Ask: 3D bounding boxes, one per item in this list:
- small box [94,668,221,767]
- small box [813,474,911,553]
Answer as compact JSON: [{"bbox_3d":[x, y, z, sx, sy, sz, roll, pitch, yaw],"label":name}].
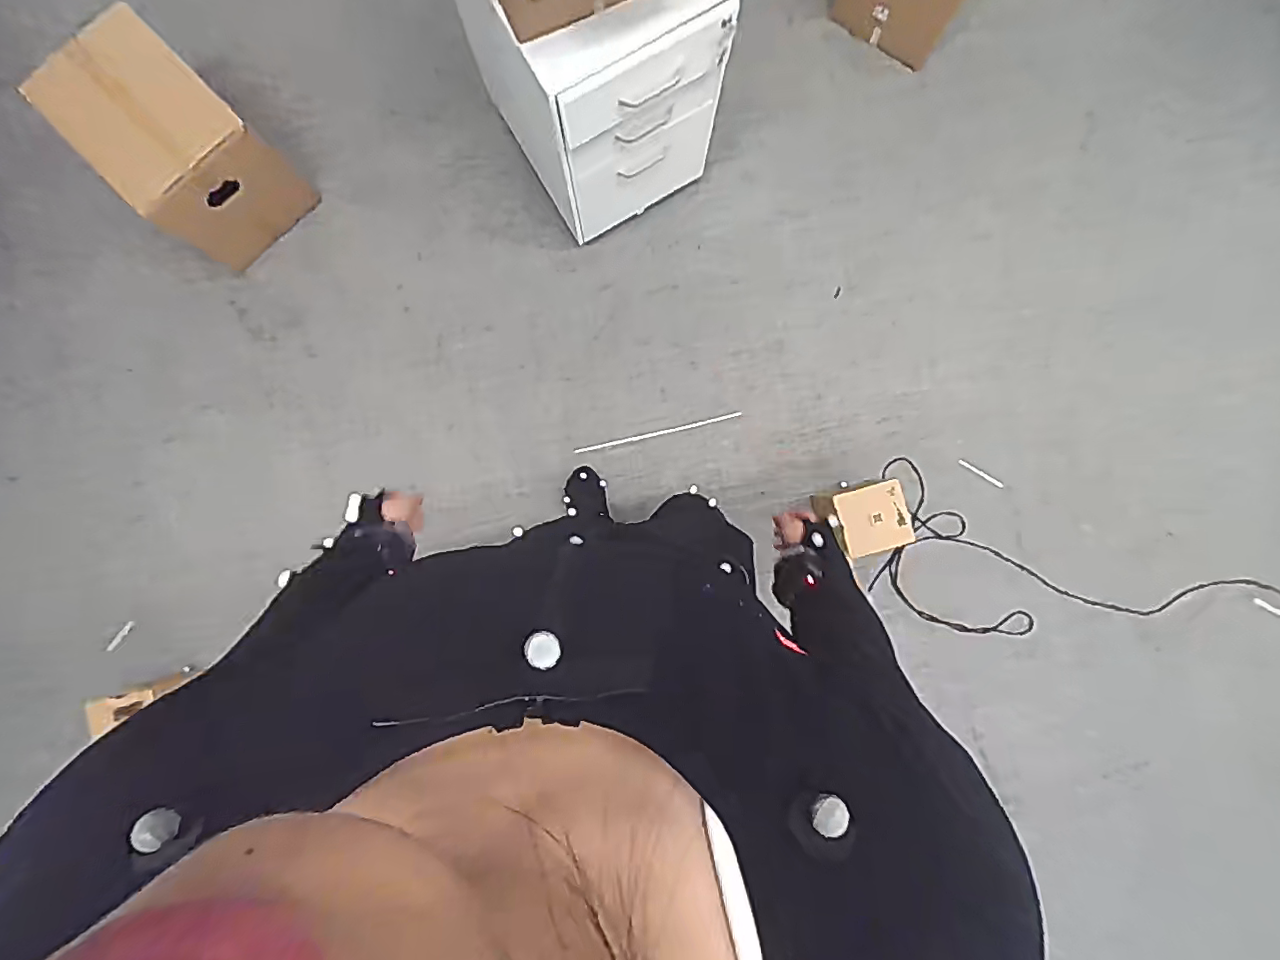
[{"bbox_3d":[-1.232,0.600,1.392,0.168,0.176,0.179,-12,89,-1],"label":"small box"},{"bbox_3d":[0.573,0.088,1.425,0.179,0.176,0.168,-16,89,0],"label":"small box"}]
